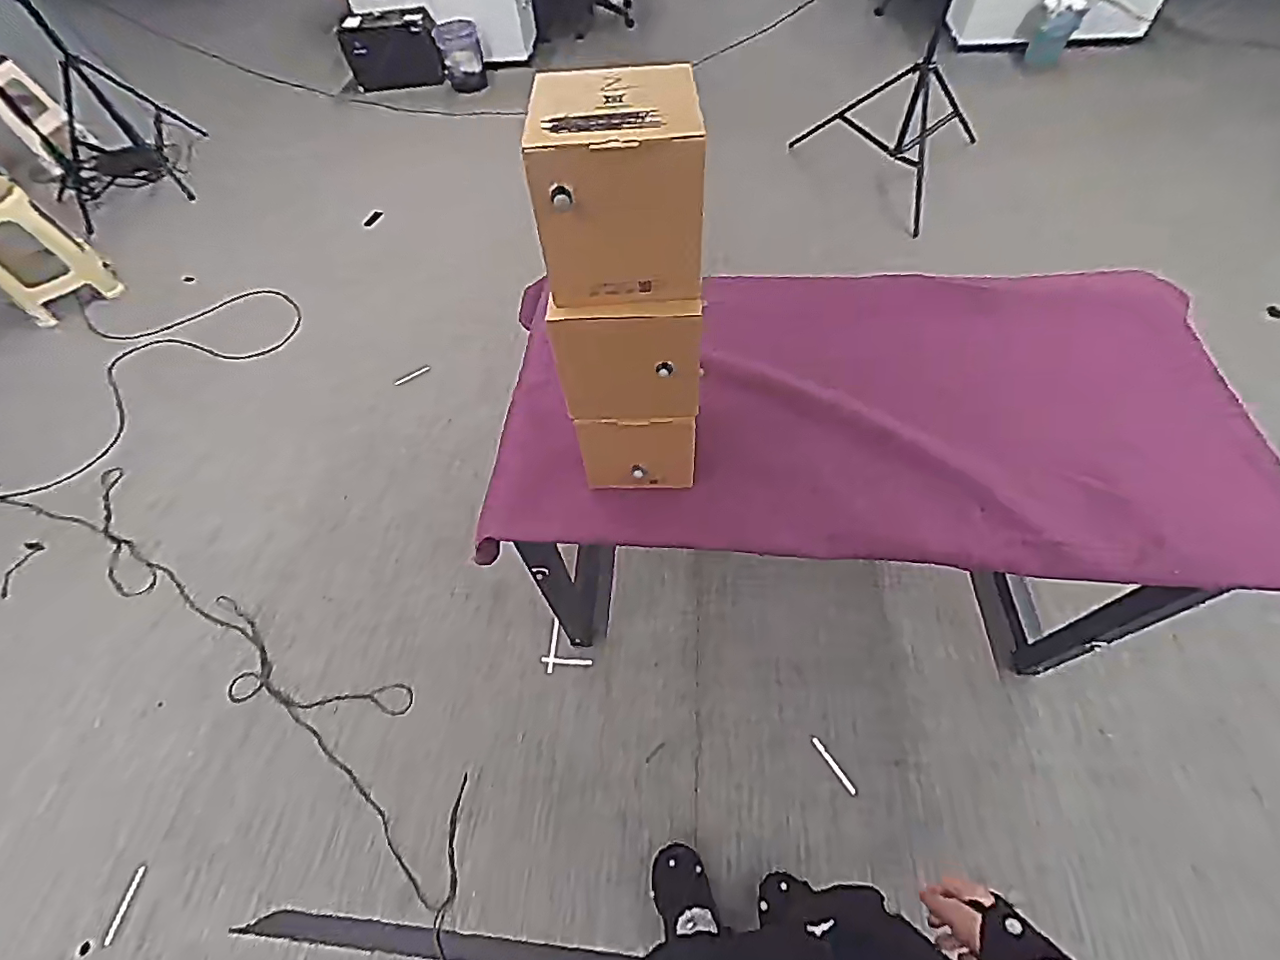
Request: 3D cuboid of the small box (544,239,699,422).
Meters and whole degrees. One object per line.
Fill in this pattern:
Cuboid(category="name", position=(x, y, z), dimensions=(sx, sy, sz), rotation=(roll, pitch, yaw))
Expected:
Cuboid(category="small box", position=(-0.016, -0.190, 0.711), dimensions=(0.179, 0.176, 0.168), rotation=(-2, 55, 4))

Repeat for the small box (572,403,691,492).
Cuboid(category="small box", position=(-0.006, -0.100, 0.845), dimensions=(0.168, 0.176, 0.179), rotation=(0, 57, 4))
